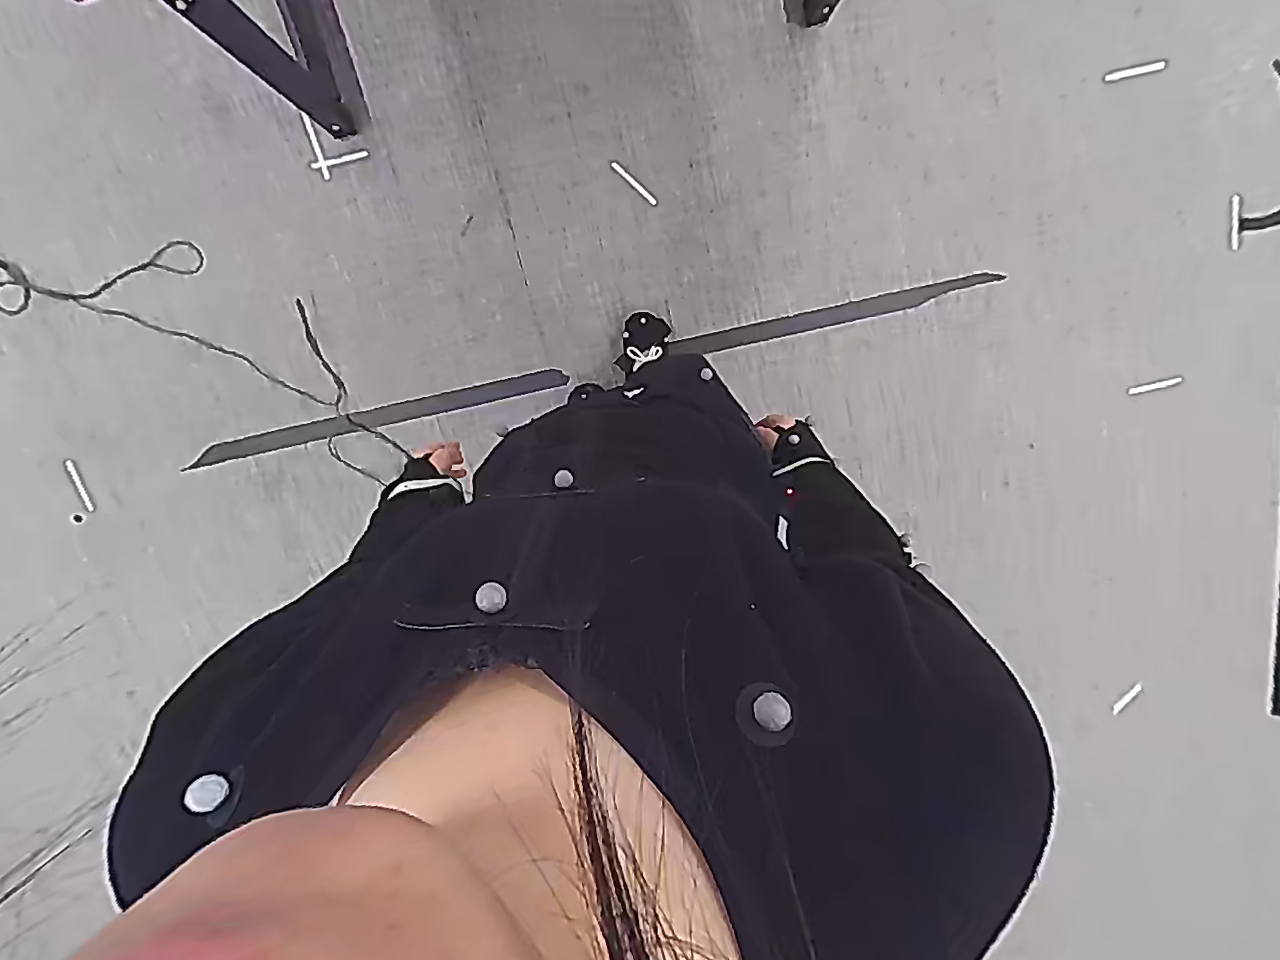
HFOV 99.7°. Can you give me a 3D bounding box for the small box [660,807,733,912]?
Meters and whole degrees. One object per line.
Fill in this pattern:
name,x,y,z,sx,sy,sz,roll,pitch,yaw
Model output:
small box,0.168,1.148,1.644,0.168,0.176,0.179,-19,104,0
